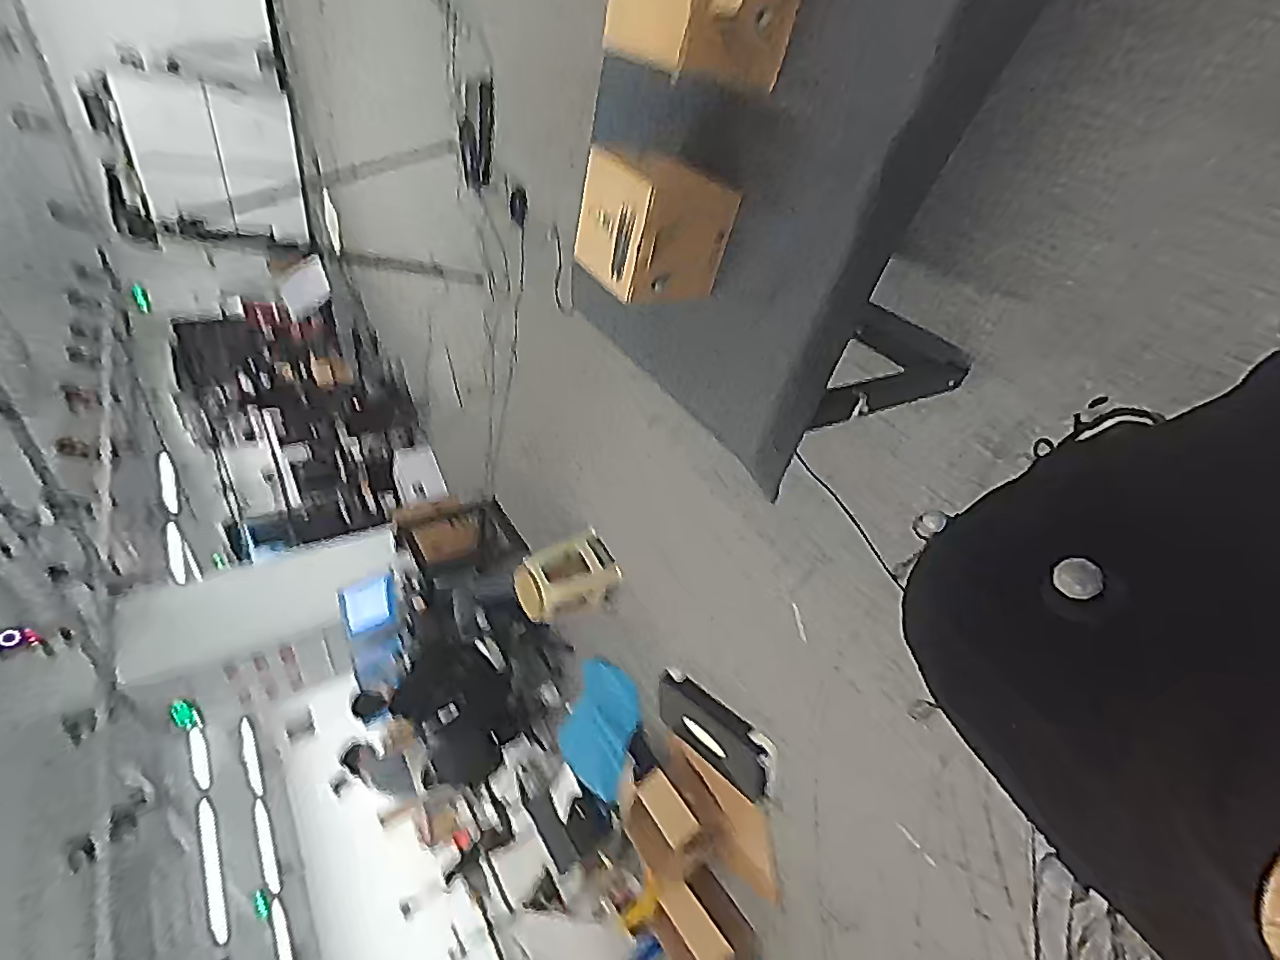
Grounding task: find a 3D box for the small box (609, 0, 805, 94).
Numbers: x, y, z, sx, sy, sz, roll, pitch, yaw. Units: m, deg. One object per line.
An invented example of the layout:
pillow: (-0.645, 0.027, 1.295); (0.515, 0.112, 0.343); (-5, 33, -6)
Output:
small box: (0.088, -0.615, 0.688); (0.179, 0.176, 0.168); (47, 138, 34)
